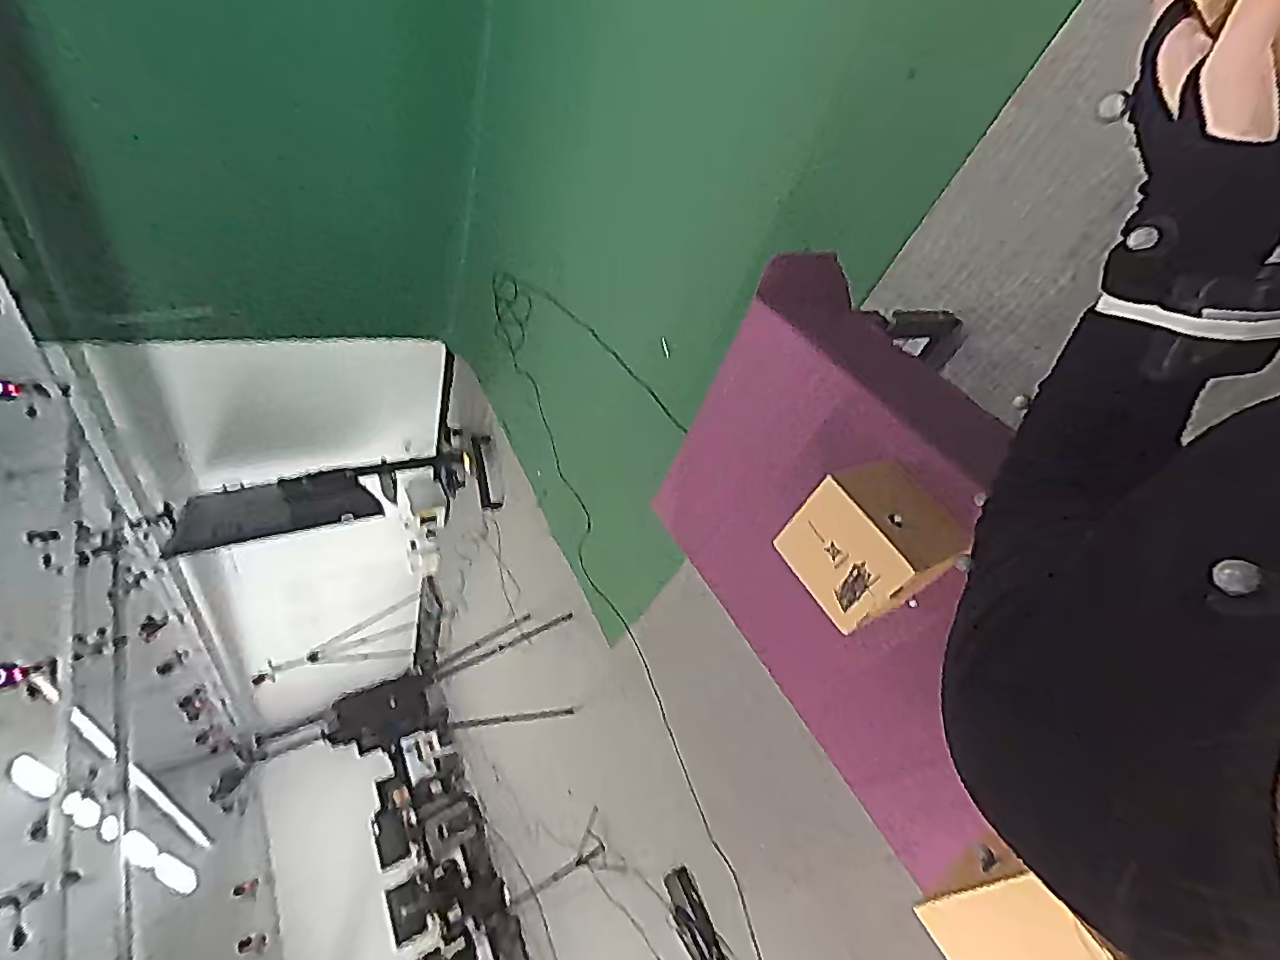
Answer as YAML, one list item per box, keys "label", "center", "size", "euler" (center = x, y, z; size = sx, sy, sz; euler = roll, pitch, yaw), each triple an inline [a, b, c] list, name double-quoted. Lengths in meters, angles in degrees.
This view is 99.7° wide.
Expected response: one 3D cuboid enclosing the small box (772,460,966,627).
- label: "small box"
  center: [0.347, 0.089, 0.828]
  size: [0.179, 0.176, 0.168]
  euler: [57, 140, 29]
